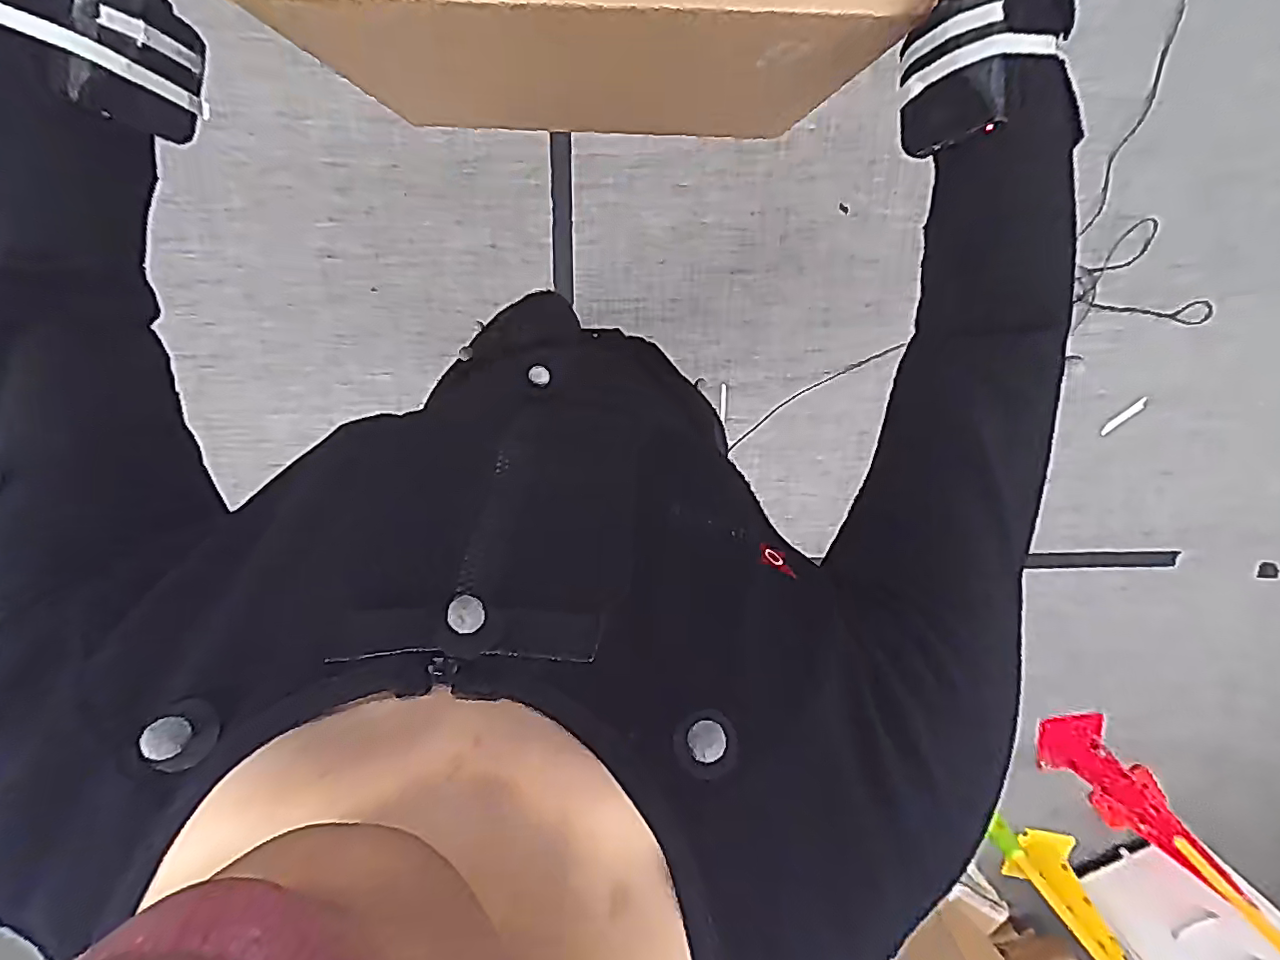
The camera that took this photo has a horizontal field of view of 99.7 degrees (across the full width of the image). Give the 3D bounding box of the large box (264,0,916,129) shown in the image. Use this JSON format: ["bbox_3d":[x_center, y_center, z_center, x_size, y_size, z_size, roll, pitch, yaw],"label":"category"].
[{"bbox_3d":[-0.037,-0.472,0.394,0.408,0.320,0.320,0,112,-3],"label":"large box"}]
